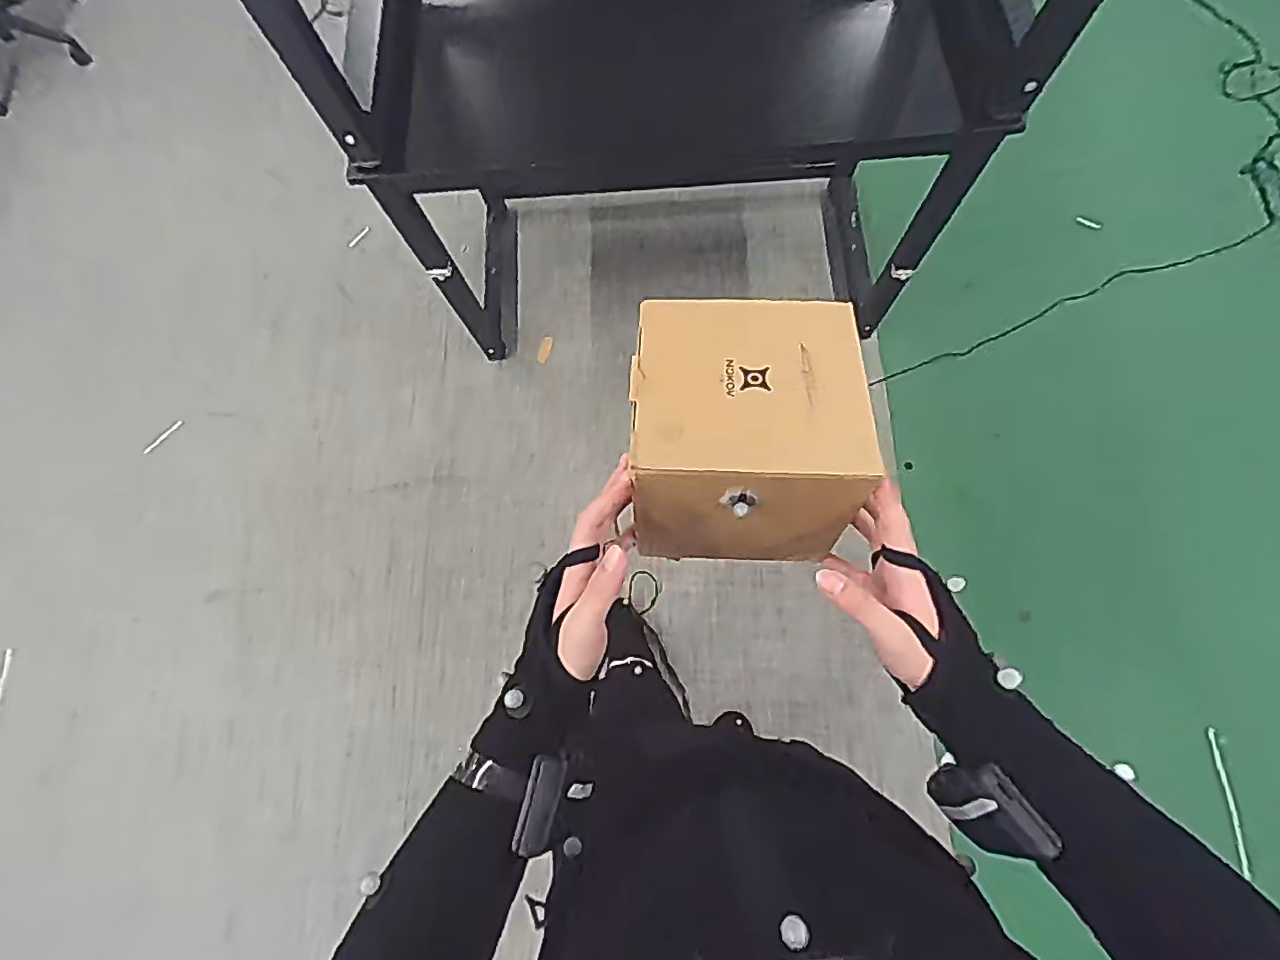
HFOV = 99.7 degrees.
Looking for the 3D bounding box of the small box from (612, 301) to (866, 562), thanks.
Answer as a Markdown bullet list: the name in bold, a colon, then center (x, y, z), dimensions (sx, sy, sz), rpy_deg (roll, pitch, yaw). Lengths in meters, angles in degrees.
- **small box**: center (0.075, -0.035, 0.476), dimensions (0.179, 0.176, 0.168), rpy_deg (3, 60, 3)
